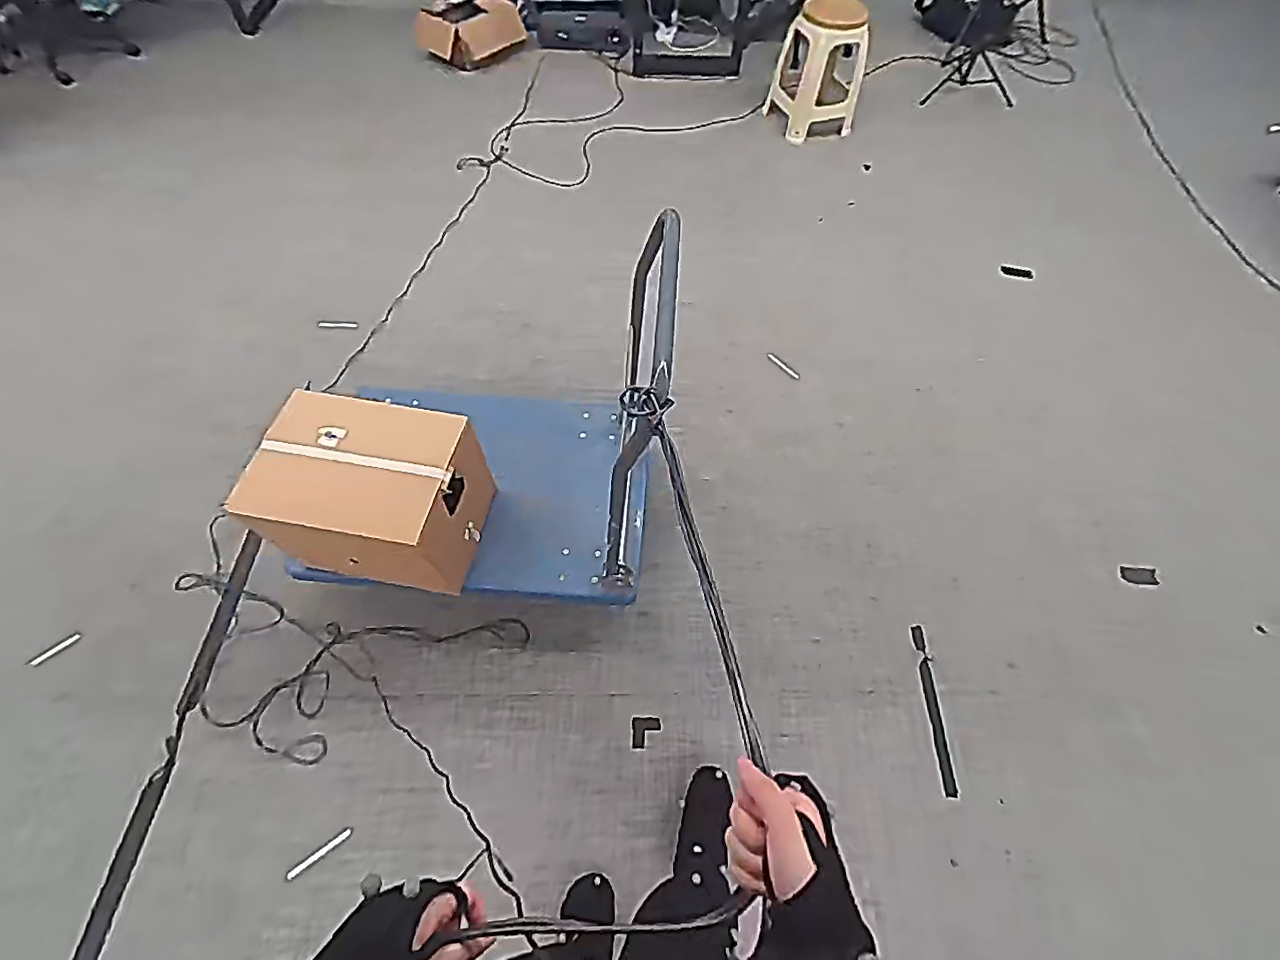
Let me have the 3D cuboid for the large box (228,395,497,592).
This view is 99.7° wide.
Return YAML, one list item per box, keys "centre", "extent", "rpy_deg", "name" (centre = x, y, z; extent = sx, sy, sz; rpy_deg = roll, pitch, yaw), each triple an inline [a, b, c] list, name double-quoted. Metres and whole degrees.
- centre: [-0.590, 0.041, 1.245]
  extent: [0.408, 0.320, 0.320]
  rpy_deg: [9, 59, 4]
  name: "large box"
